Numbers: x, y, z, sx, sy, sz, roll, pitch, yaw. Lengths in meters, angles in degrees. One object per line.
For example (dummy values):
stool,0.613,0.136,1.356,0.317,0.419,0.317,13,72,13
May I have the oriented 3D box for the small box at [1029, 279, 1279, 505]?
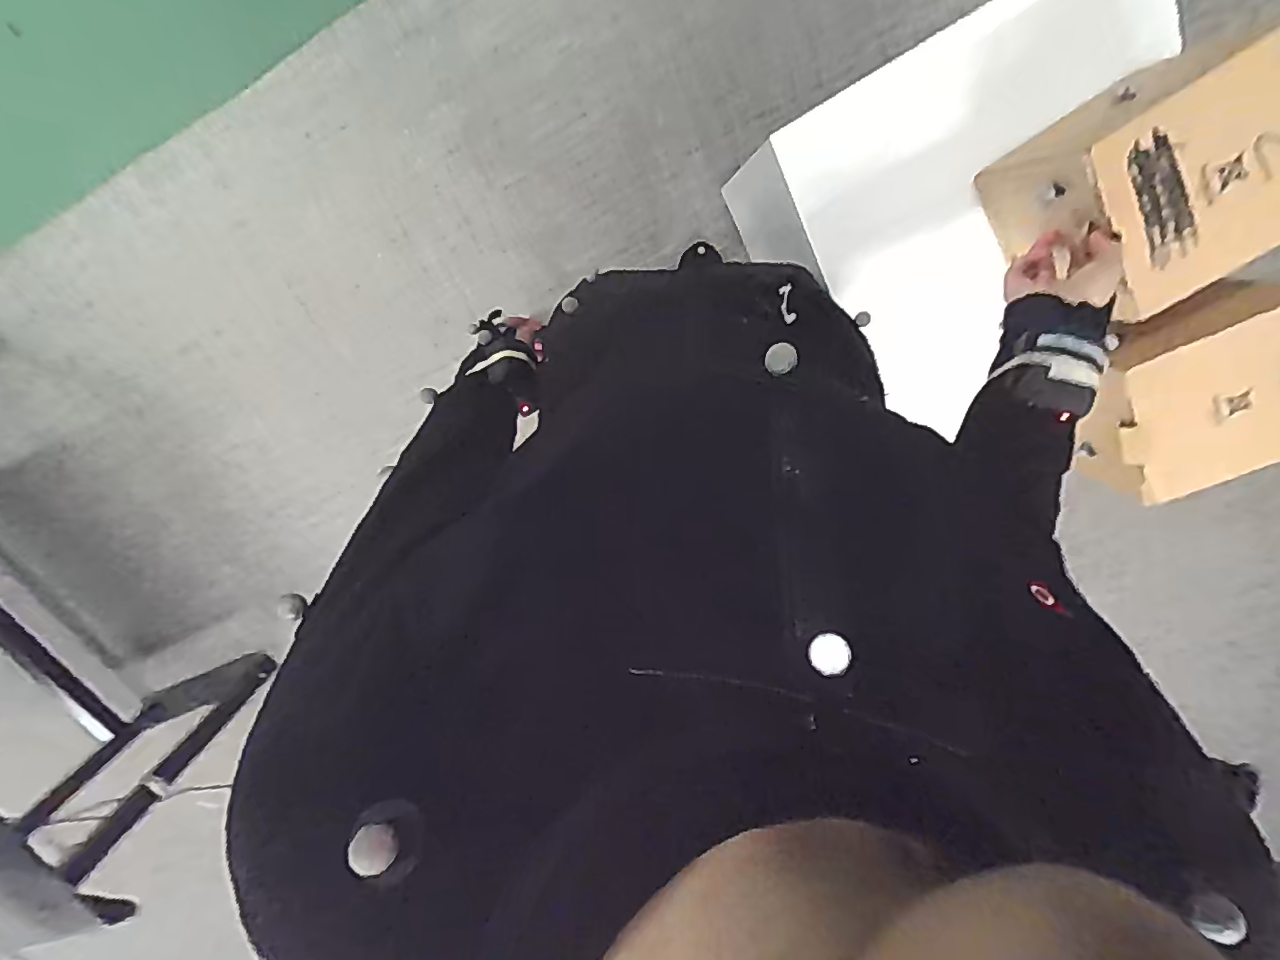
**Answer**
small box,0.573,-0.104,0.600,0.179,0.176,0.168,-26,110,12
